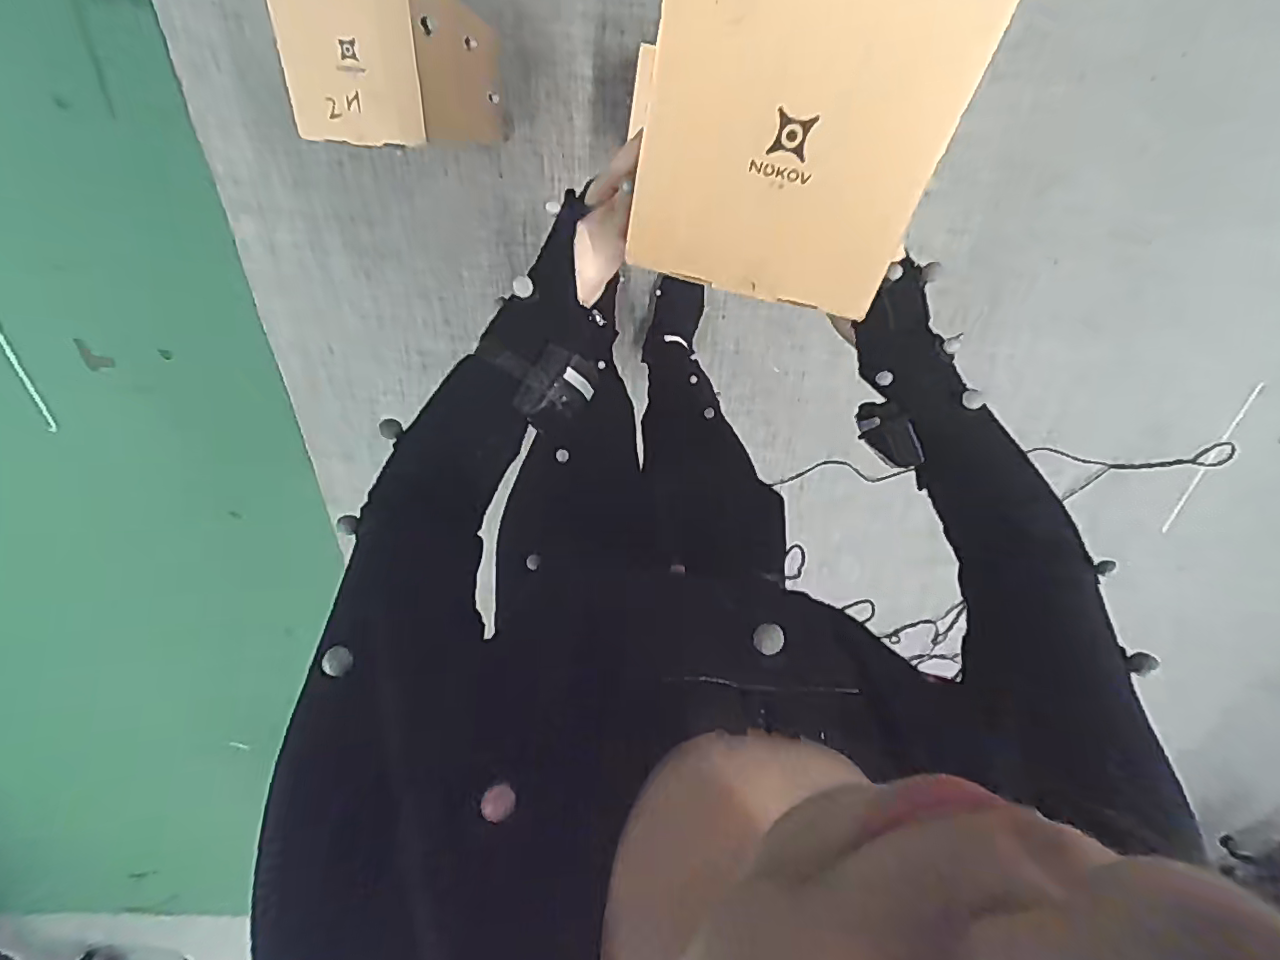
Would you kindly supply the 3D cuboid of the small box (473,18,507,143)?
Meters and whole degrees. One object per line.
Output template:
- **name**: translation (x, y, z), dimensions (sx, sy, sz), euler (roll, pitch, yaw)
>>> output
- **small box**: translation (-0.341, -0.726, 0.982), dimensions (0.168, 0.176, 0.179), euler (5, 123, -3)

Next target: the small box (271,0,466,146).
- **small box**: translation (-0.340, -0.547, 0.708), dimensions (0.168, 0.176, 0.179), euler (4, 122, 0)

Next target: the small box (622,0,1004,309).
- **small box**: translation (0.093, -0.246, 0.359), dimensions (0.168, 0.176, 0.179), euler (14, 134, 1)
